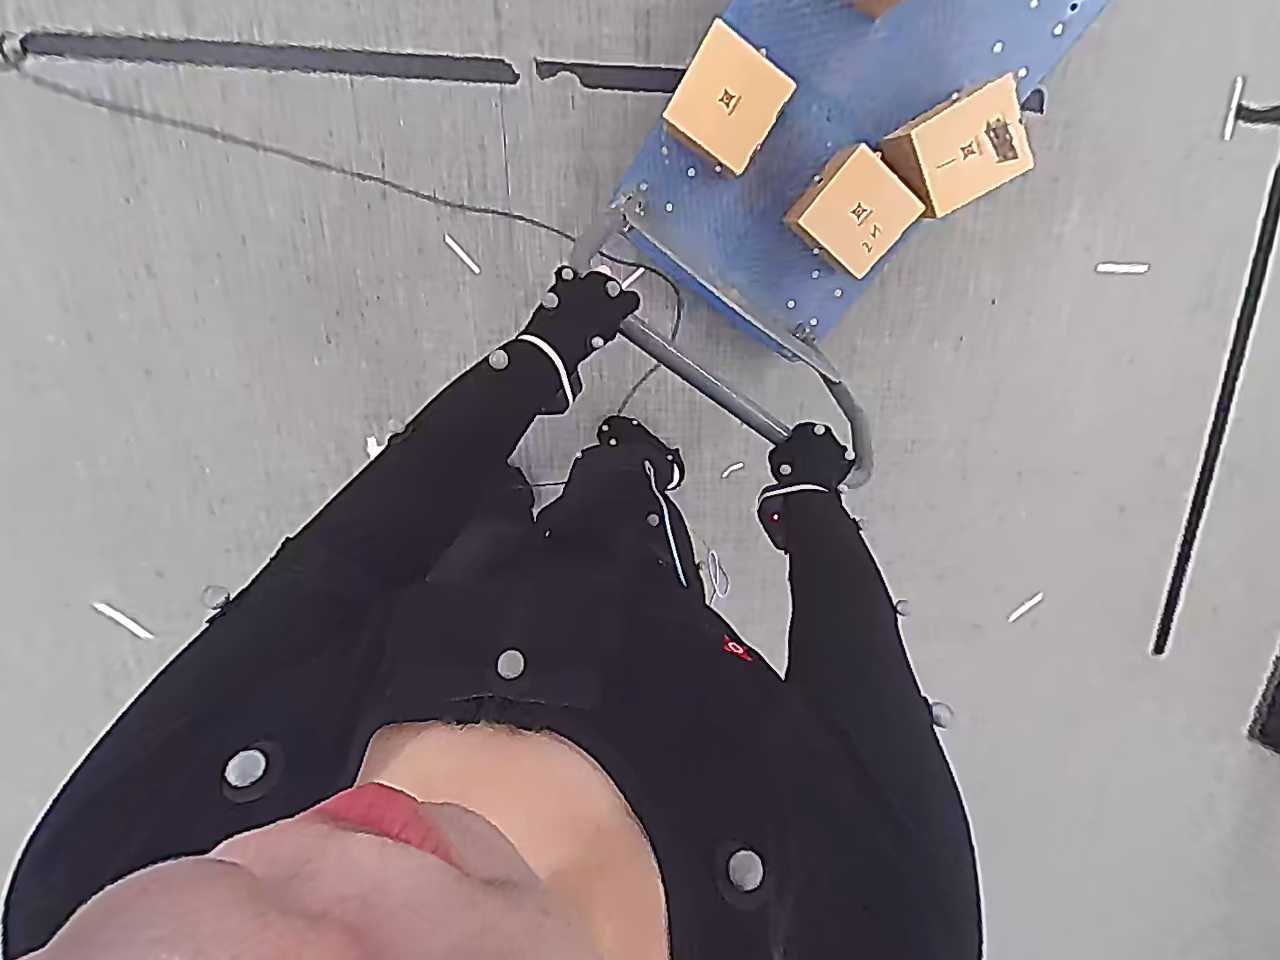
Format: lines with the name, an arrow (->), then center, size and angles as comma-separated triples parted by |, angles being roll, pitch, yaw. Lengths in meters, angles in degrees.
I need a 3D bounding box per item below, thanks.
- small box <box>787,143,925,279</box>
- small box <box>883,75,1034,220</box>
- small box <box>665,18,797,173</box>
small box -> 0.420, -0.533, 1.086 | 0.179, 0.176, 0.168 | 36, 114, -14
small box -> 0.597, -0.622, 1.031 | 0.179, 0.176, 0.168 | -25, 112, 16
small box -> 0.160, -0.703, 1.018 | 0.179, 0.176, 0.168 | 30, 114, -13
